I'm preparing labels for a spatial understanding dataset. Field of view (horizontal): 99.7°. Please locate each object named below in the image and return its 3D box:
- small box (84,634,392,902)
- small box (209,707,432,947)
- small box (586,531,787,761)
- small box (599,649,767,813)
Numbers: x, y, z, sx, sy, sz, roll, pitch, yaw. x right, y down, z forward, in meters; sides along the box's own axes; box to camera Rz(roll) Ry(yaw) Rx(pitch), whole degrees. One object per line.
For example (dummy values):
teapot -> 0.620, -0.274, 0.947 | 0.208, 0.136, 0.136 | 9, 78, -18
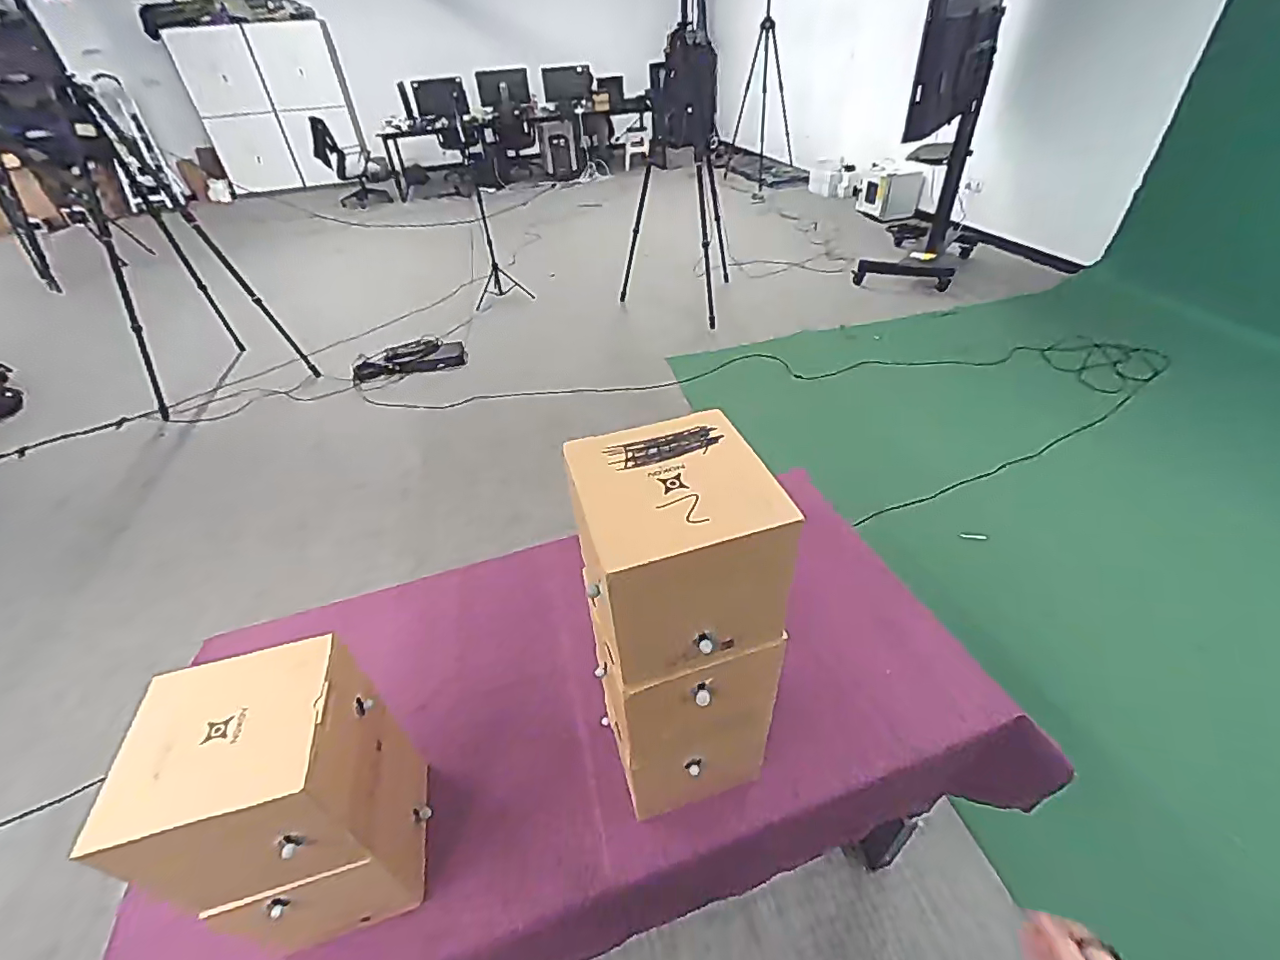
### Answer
small box -> -0.374, 0.292, 0.553 | 0.179, 0.176, 0.168 | -13, 40, -8
small box -> -0.363, 0.417, 0.657 | 0.168, 0.176, 0.179 | -14, 40, -9
small box -> 0.047, 0.191, 0.629 | 0.179, 0.176, 0.168 | -15, 41, -10
small box -> 0.054, 0.317, 0.733 | 0.179, 0.176, 0.168 | -13, 41, -10
